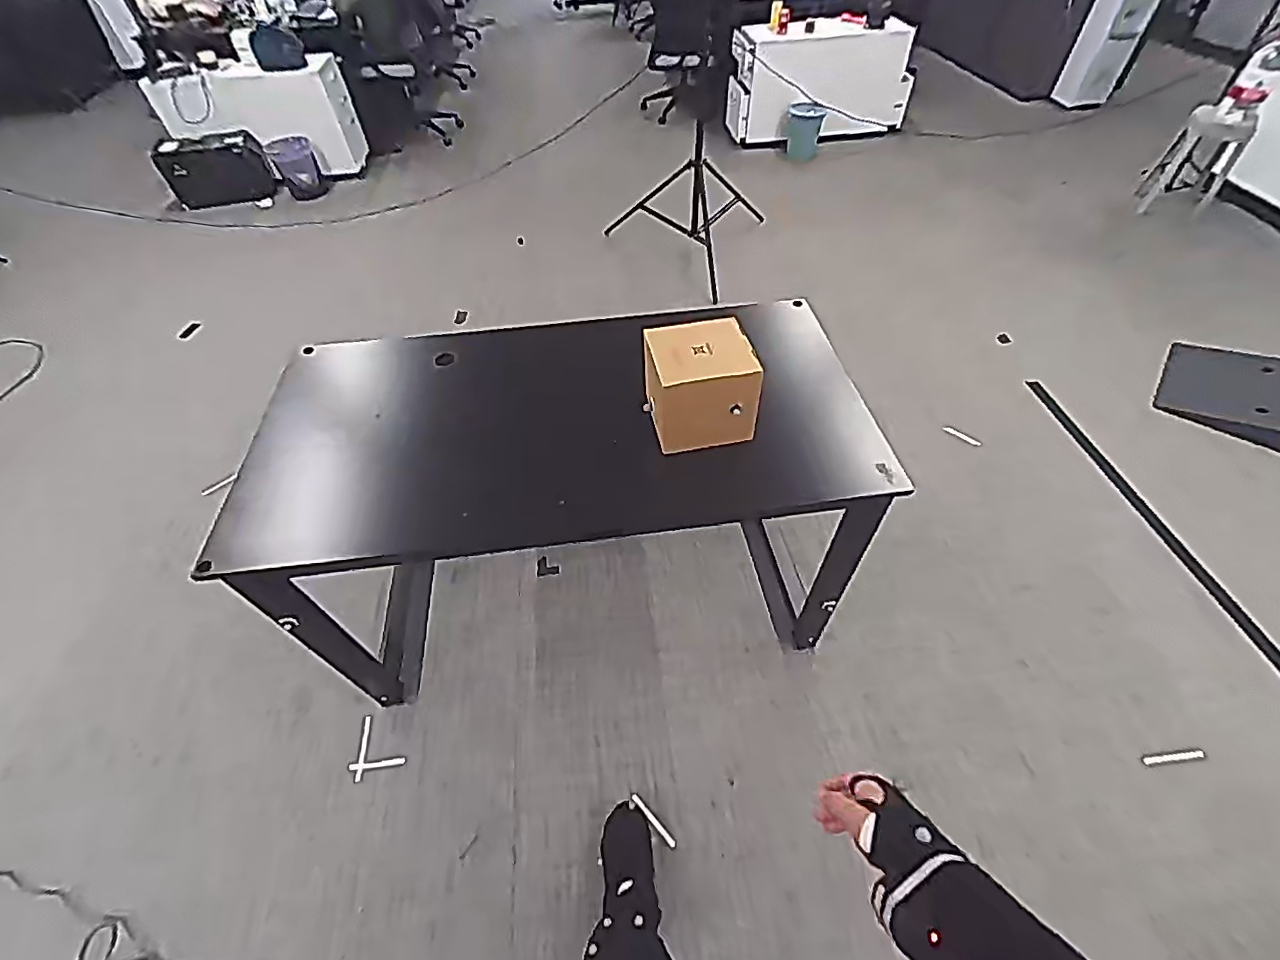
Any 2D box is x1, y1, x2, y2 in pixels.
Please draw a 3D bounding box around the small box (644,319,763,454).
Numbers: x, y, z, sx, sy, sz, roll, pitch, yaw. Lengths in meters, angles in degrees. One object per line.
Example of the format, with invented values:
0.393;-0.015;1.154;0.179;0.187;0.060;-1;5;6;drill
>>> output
0.110;-0.171;1.005;0.179;0.176;0.168;-11;50;-5;small box
